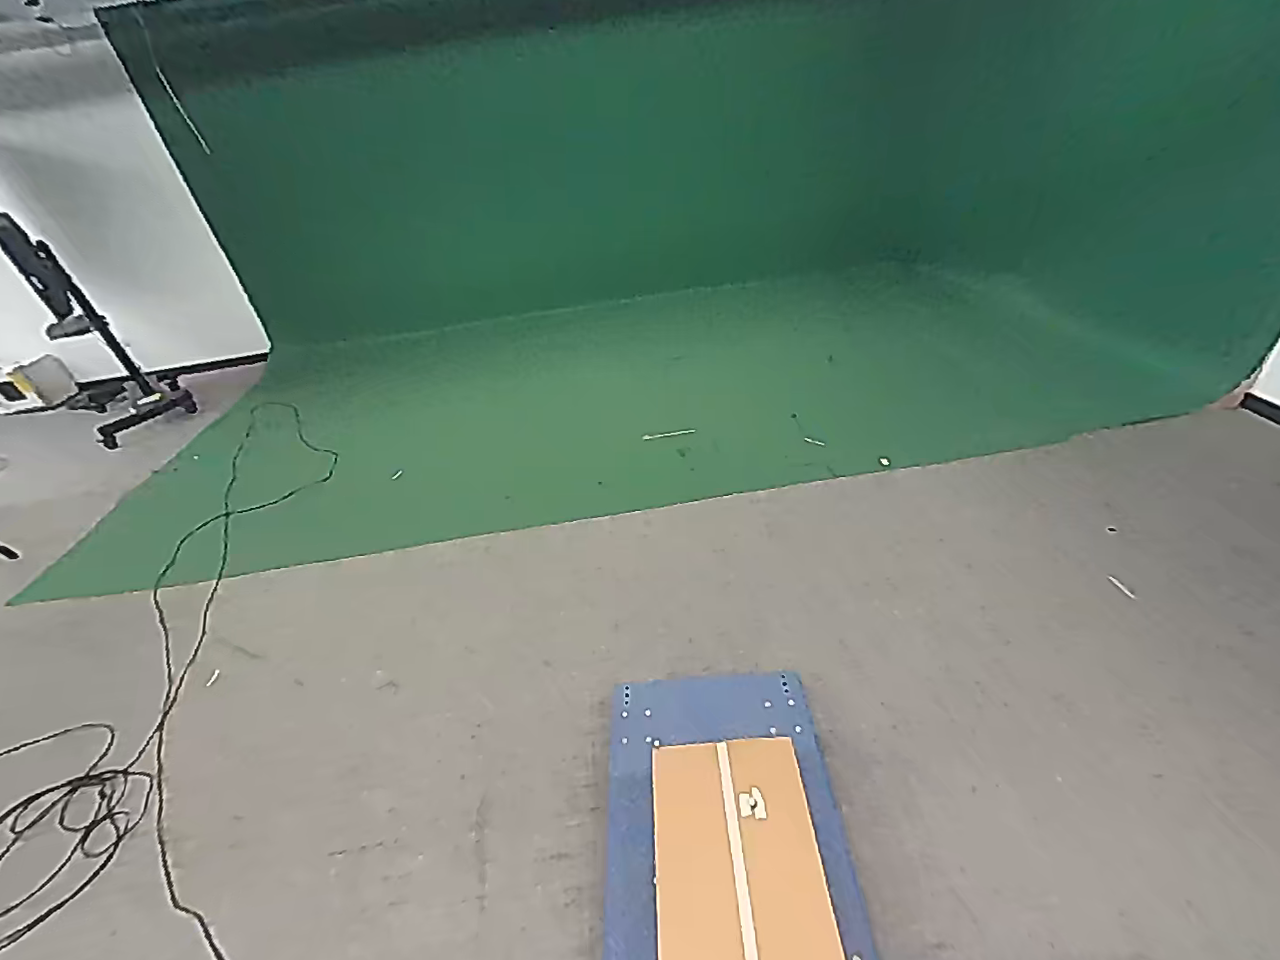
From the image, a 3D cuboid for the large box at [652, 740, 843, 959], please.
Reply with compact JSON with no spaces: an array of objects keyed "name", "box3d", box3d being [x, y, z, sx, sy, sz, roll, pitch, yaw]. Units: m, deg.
[{"name":"large box","box3d":[0.203,0.835,1.143,0.320,0.320,0.408,-6,35,3]}]
